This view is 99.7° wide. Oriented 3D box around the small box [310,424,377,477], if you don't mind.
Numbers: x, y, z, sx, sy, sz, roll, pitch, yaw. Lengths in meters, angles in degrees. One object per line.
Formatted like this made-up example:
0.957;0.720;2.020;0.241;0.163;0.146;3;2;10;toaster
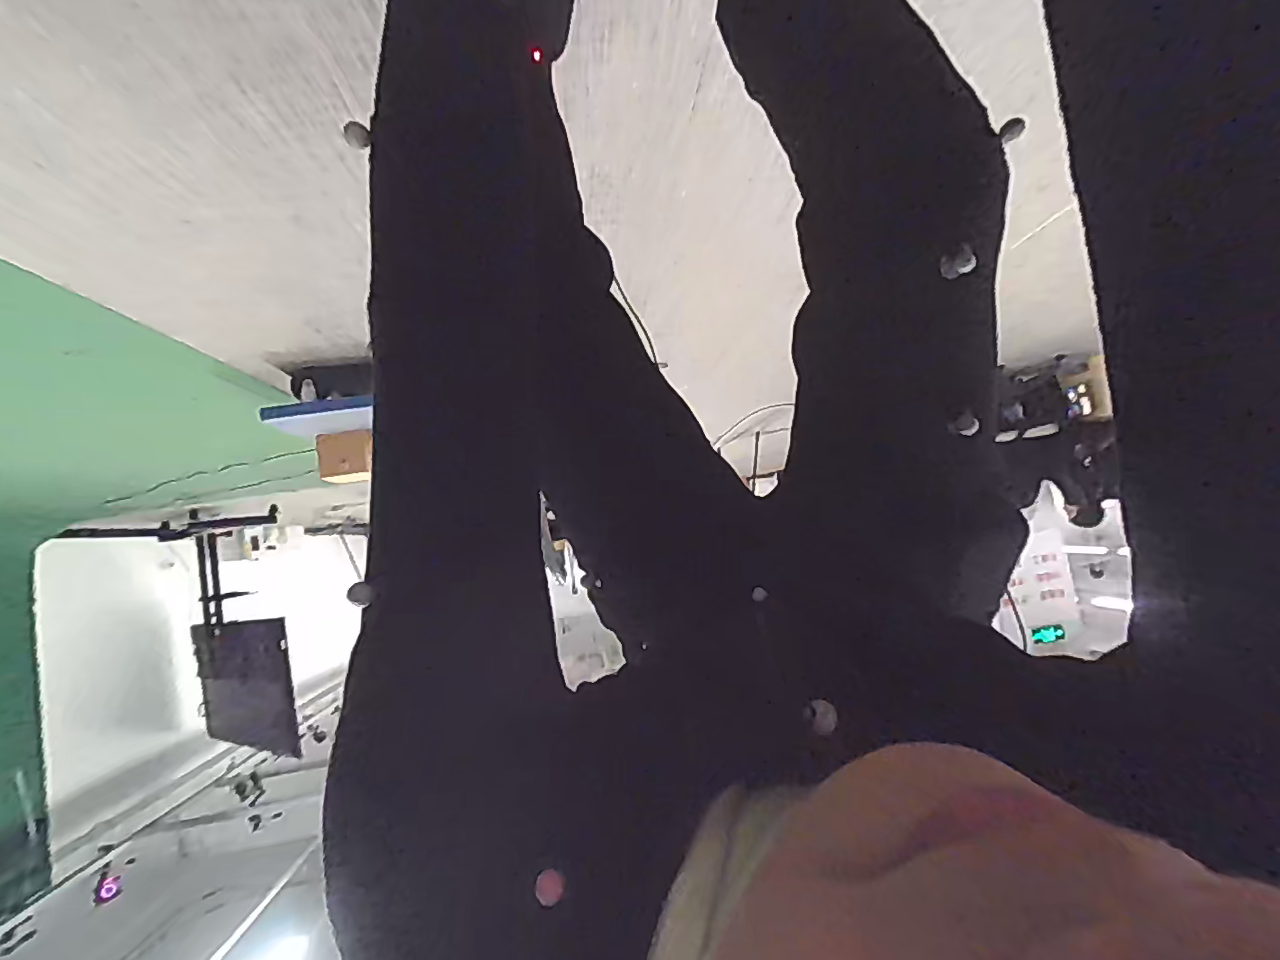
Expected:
-1.136;-0.112;2.073;0.179;0.176;0.168;-8;175;-9;small box
